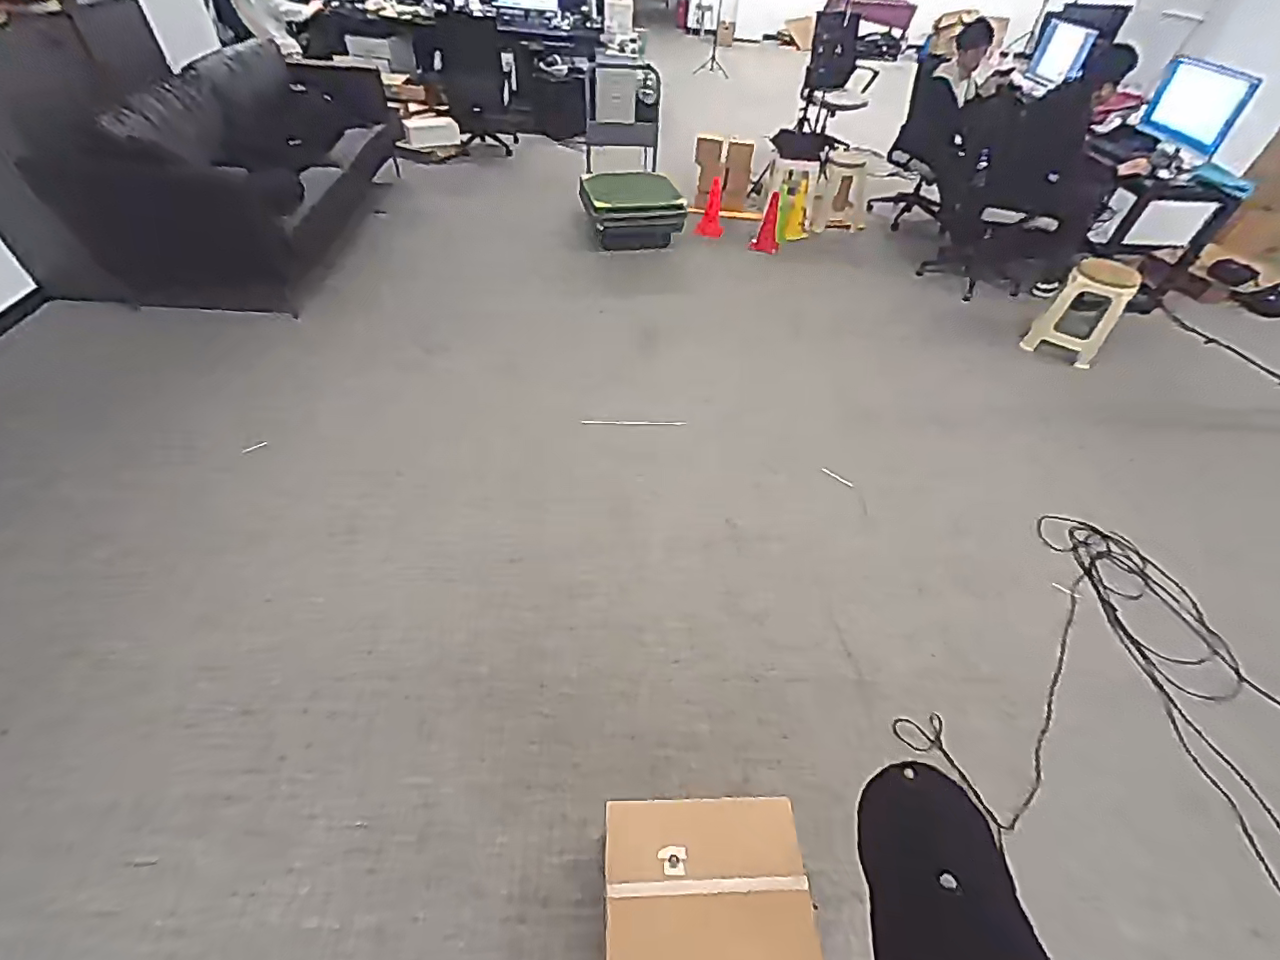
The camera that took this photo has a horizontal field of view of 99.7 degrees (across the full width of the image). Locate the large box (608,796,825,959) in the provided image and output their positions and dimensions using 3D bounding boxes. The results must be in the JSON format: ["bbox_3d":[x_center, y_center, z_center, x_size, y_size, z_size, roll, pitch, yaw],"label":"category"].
[{"bbox_3d":[0.136,0.913,1.179,0.408,0.320,0.320,-1,46,-4],"label":"large box"}]
